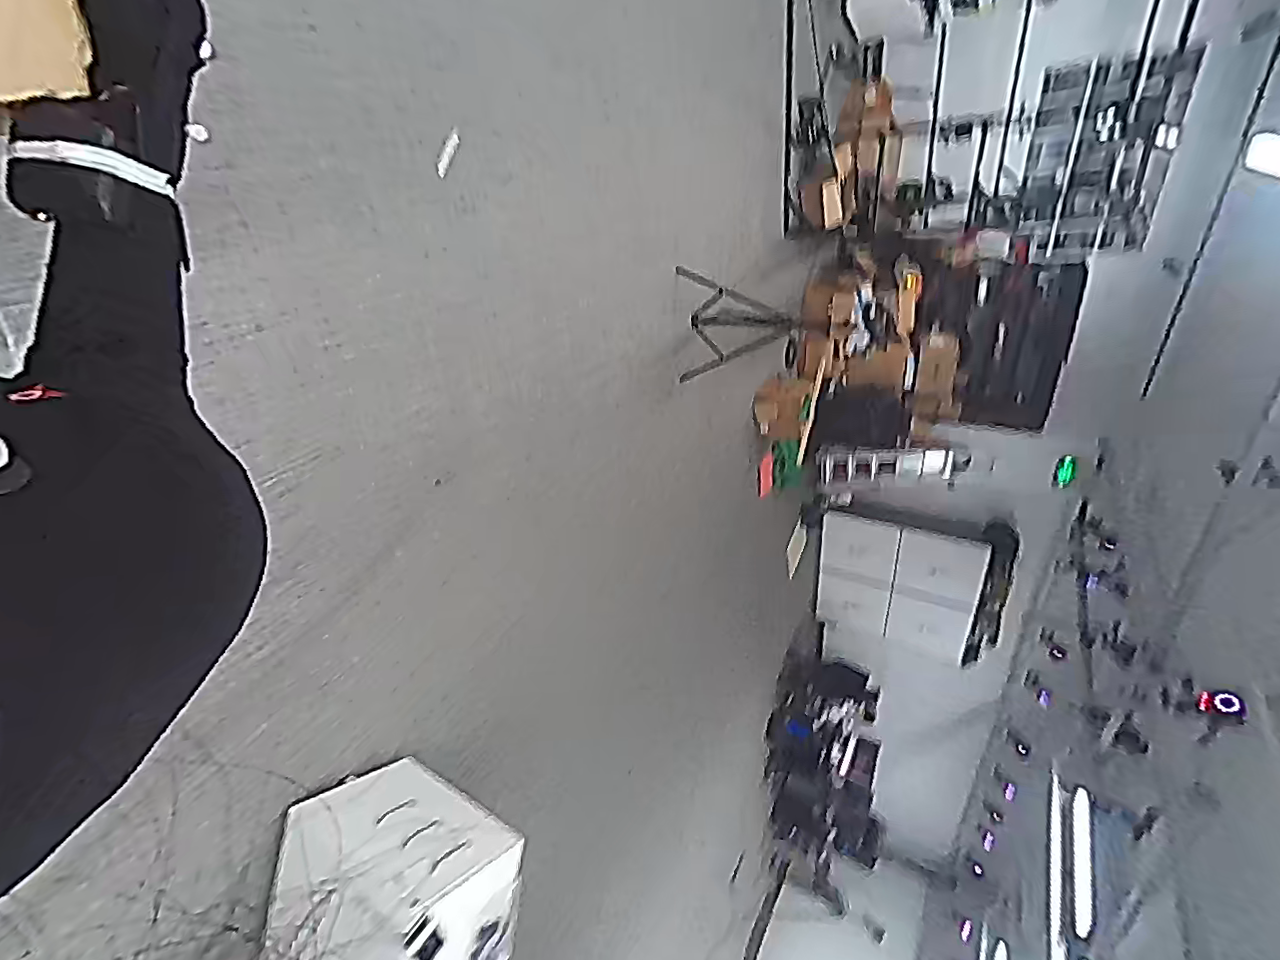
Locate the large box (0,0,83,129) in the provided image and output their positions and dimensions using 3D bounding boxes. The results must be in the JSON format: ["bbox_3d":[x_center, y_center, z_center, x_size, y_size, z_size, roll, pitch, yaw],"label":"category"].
[{"bbox_3d":[-0.581,-0.407,0.233,0.408,0.320,0.320,-11,117,-62],"label":"large box"}]
